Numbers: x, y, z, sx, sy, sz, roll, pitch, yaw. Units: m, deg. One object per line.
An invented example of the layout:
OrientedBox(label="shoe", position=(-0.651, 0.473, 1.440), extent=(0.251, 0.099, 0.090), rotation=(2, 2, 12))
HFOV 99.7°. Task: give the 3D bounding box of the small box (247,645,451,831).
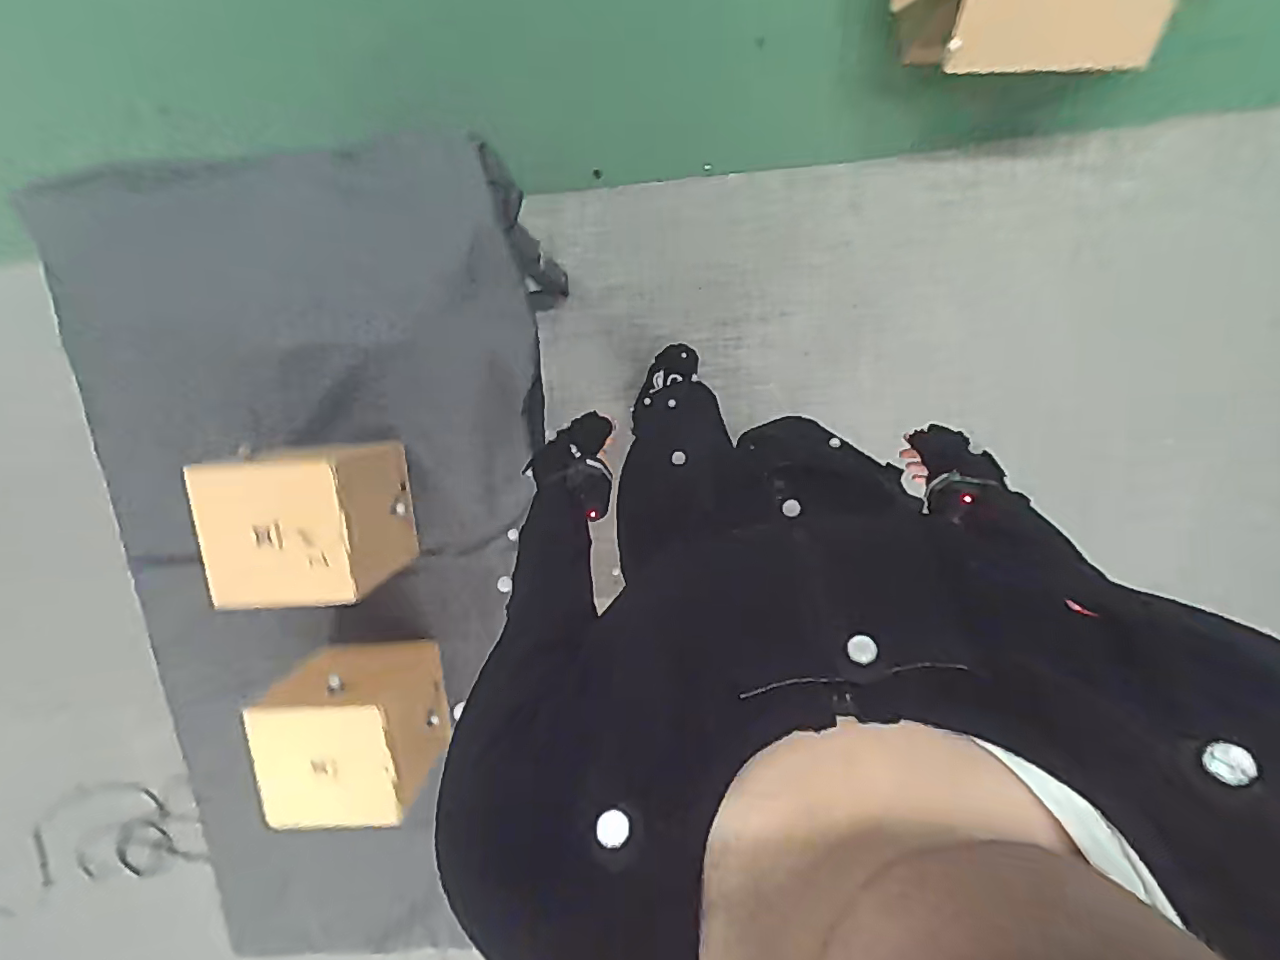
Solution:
OrientedBox(label="small box", position=(-0.383, 0.343, 0.743), extent=(0.179, 0.176, 0.168), rotation=(-4, 100, 2))

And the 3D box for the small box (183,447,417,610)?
OrientedBox(label="small box", position=(-0.411, 0.052, 0.685), extent=(0.179, 0.176, 0.168), rotation=(-4, 101, 2))
